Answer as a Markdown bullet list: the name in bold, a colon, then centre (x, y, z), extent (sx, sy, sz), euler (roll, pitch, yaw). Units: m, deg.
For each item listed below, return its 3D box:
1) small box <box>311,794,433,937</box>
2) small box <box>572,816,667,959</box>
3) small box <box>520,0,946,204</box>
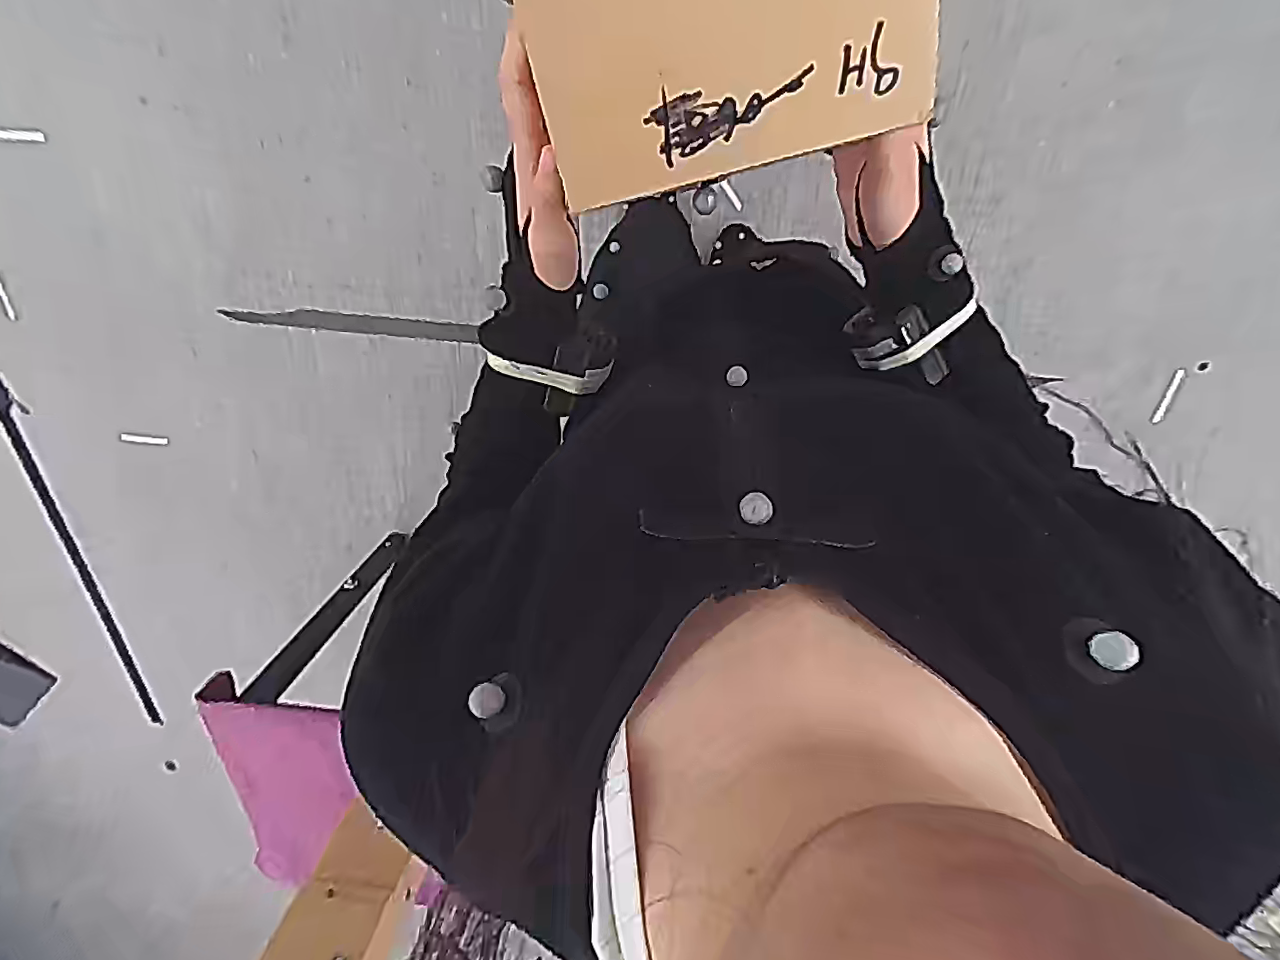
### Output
- **small box**: centre (-0.542, 0.793, 1.120), extent (0.168, 0.176, 0.179), euler (10, 116, 0)
- **small box**: centre (-0.037, 0.817, 1.083), extent (0.168, 0.176, 0.179), euler (7, 116, 2)
- **small box**: centre (0.029, -0.249, 0.269), extent (0.168, 0.176, 0.179), euler (-11, 117, 6)
